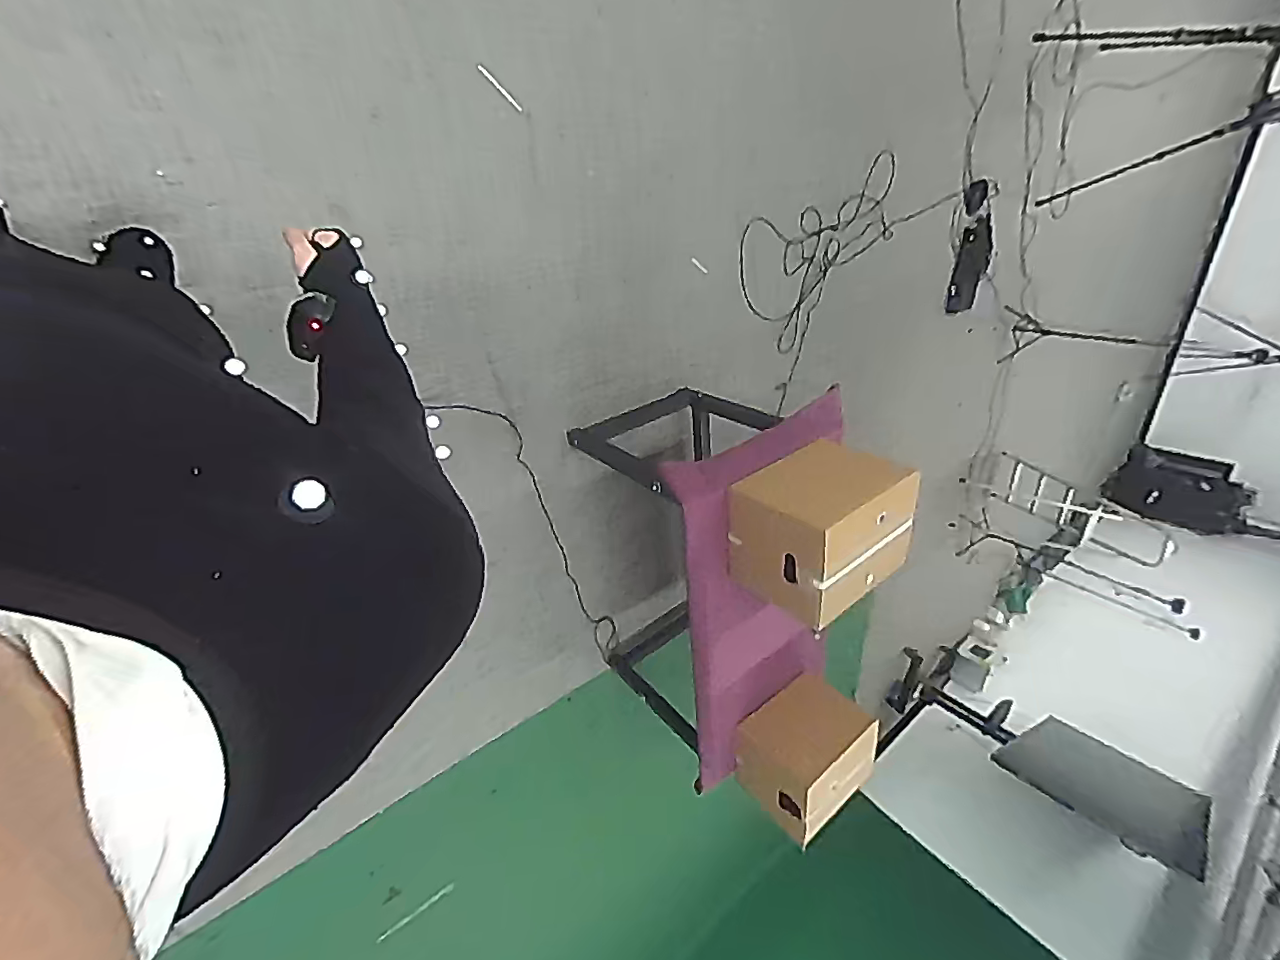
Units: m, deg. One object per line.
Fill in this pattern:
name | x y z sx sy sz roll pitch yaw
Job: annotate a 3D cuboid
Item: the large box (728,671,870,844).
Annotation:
large box | 0.571 0.985 1.965 0.408 0.320 0.320 -23 121 -31
